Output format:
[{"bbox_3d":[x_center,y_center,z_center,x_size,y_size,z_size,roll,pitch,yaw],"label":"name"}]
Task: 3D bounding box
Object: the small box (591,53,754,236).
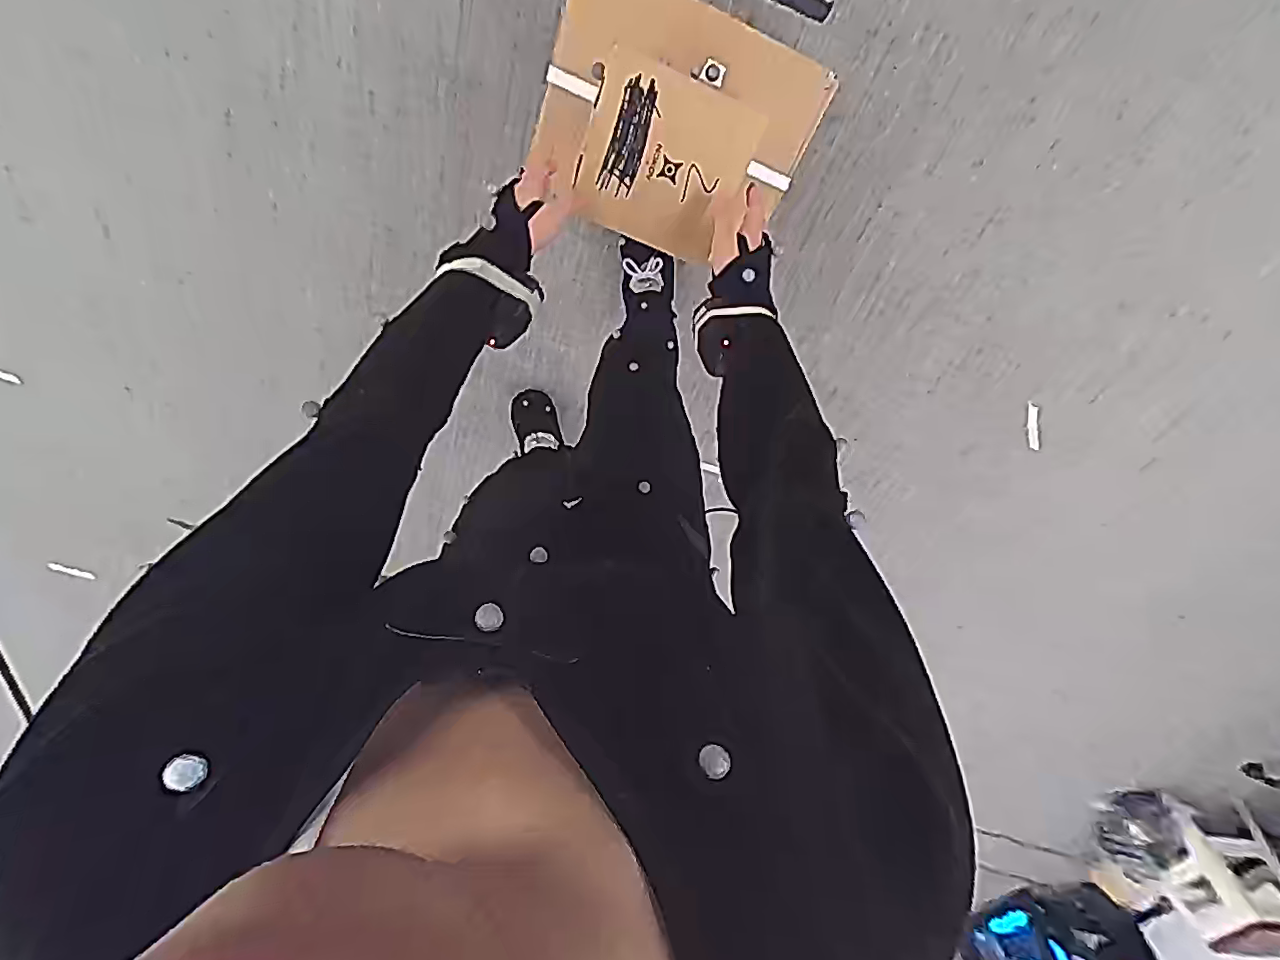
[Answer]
[{"bbox_3d":[0.043,-0.484,0.786,0.179,0.176,0.168,17,126,-9],"label":"small box"}]
